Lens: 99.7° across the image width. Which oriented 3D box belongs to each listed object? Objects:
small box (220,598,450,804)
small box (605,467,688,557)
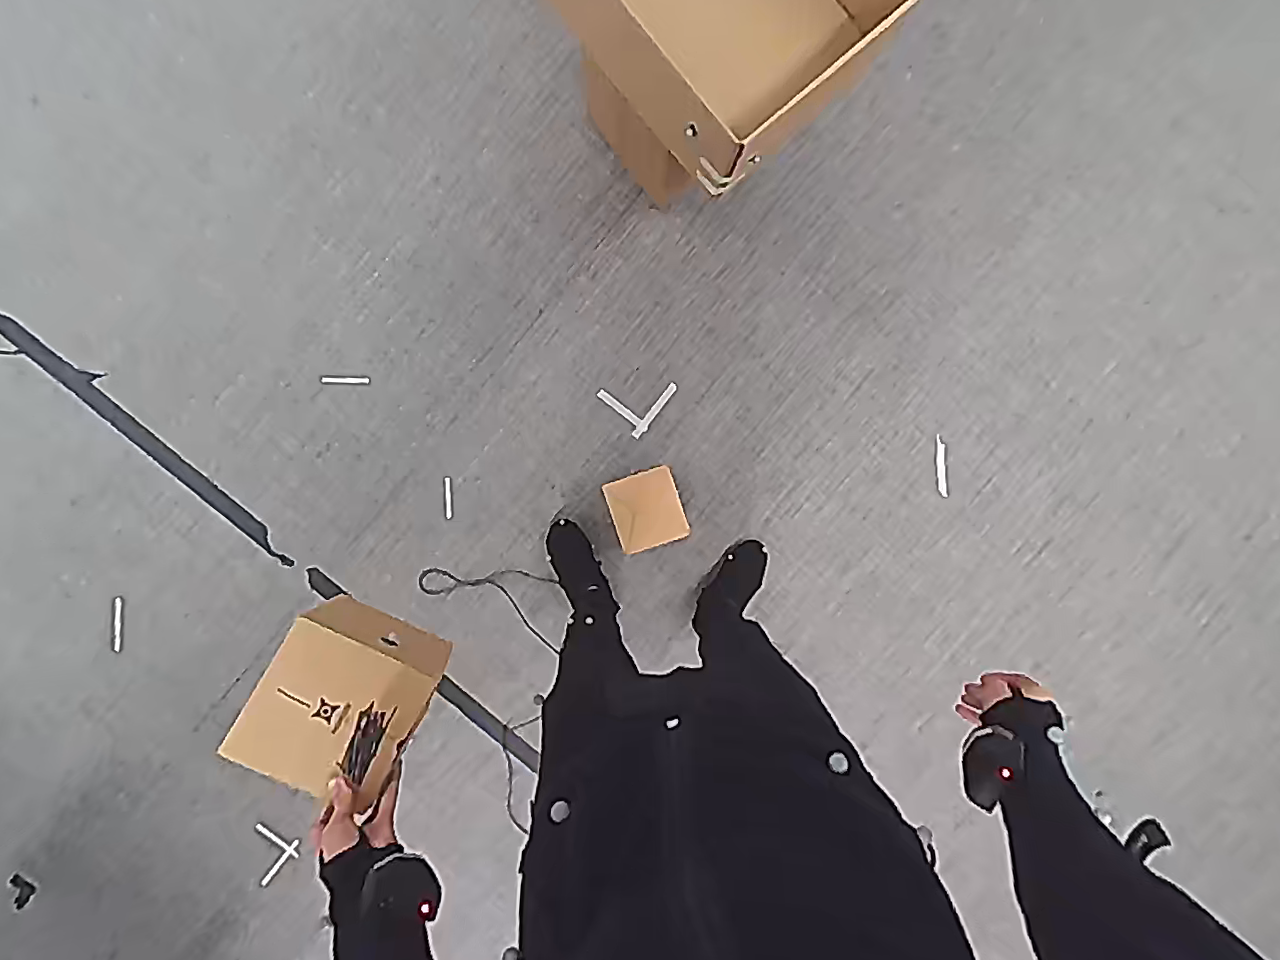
[{"bbox_3d":[-0.364,0.264,0.691,0.179,0.176,0.168,29,80,-9],"label":"small box"},{"bbox_3d":[0.014,0.076,1.349,0.168,0.176,0.179,-17,93,-1],"label":"small box"}]
